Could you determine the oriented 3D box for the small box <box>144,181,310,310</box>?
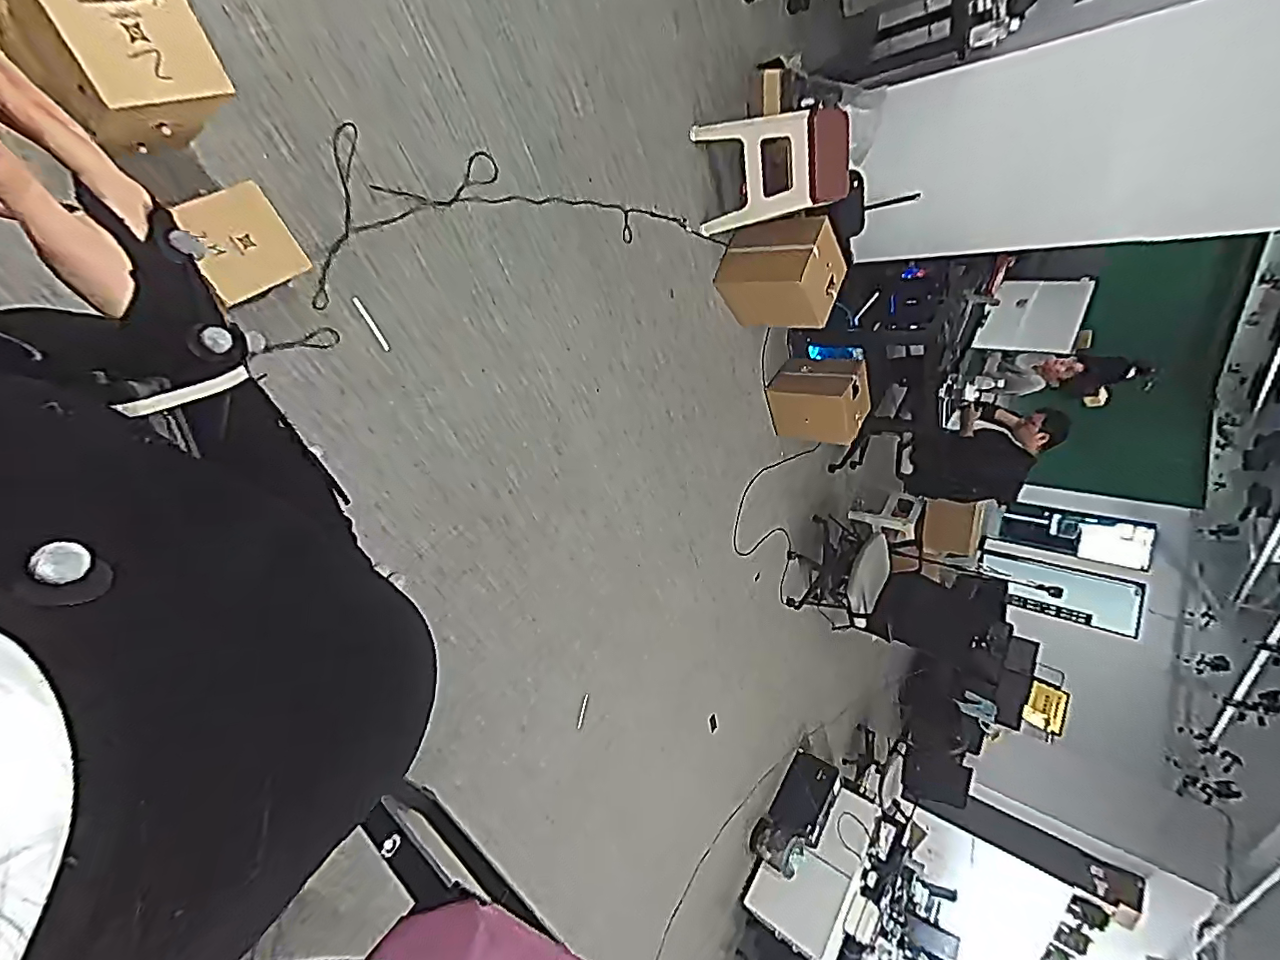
[{"bbox_3d":[-0.782,-0.439,1.024,0.179,0.176,0.168,-46,129,-32],"label":"small box"}]

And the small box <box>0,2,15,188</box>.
[{"bbox_3d":[-0.397,-0.237,0.225,0.168,0.176,0.179,-4,111,-45],"label":"small box"}]

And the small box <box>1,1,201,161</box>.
[{"bbox_3d":[-0.870,-0.638,0.873,0.179,0.176,0.168,-40,127,-34],"label":"small box"}]
